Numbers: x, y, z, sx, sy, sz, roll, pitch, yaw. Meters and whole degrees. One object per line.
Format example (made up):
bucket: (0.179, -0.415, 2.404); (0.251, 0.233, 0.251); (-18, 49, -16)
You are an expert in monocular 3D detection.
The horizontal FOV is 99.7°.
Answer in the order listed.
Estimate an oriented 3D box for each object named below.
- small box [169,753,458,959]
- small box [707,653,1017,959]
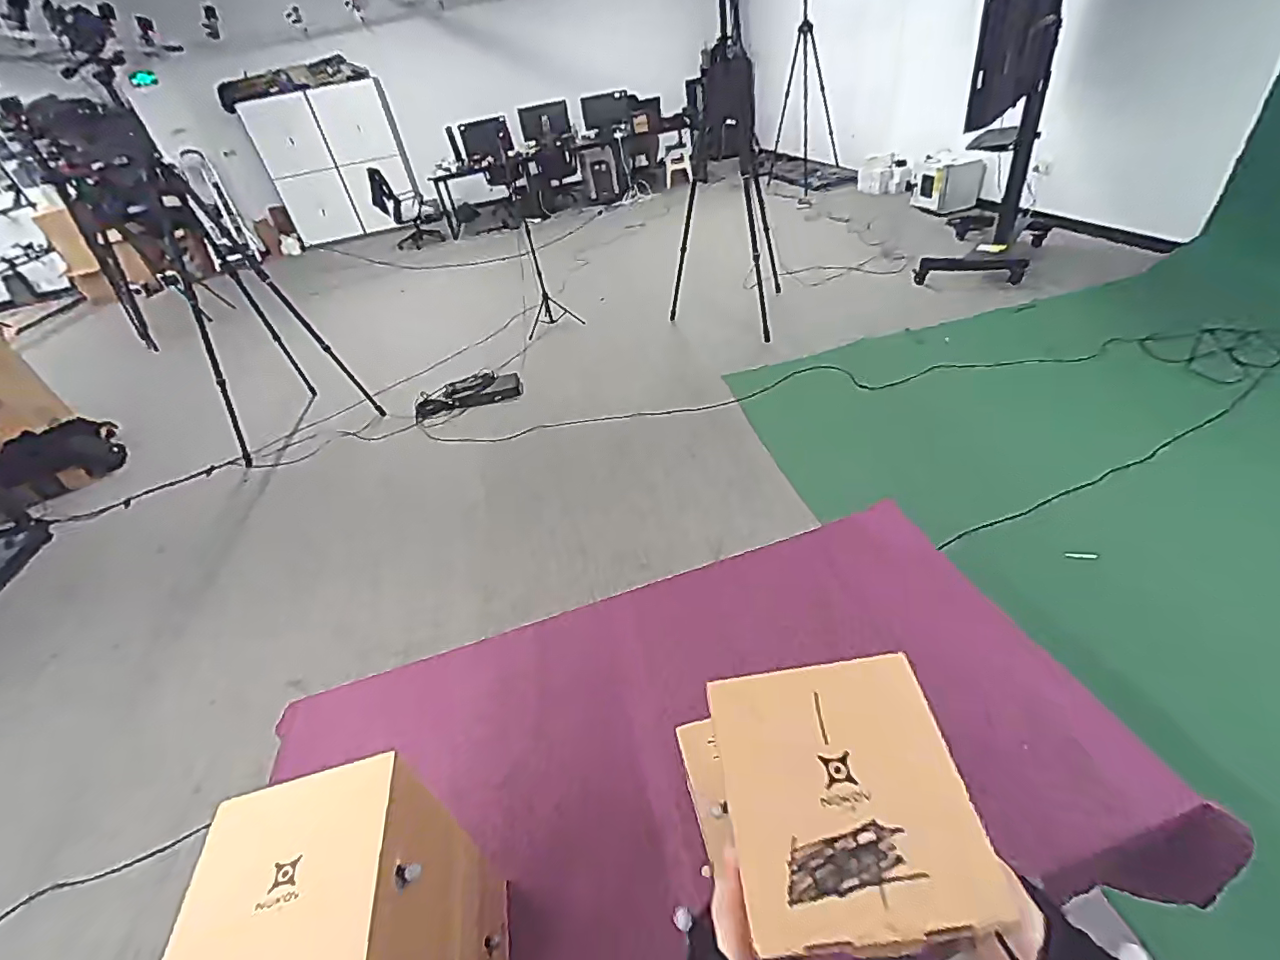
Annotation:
small box: (-0.280, 0.396, 0.500); (0.168, 0.176, 0.179); (-16, 38, -4)
small box: (0.156, 0.269, 0.443); (0.168, 0.176, 0.179); (-10, 47, 4)
